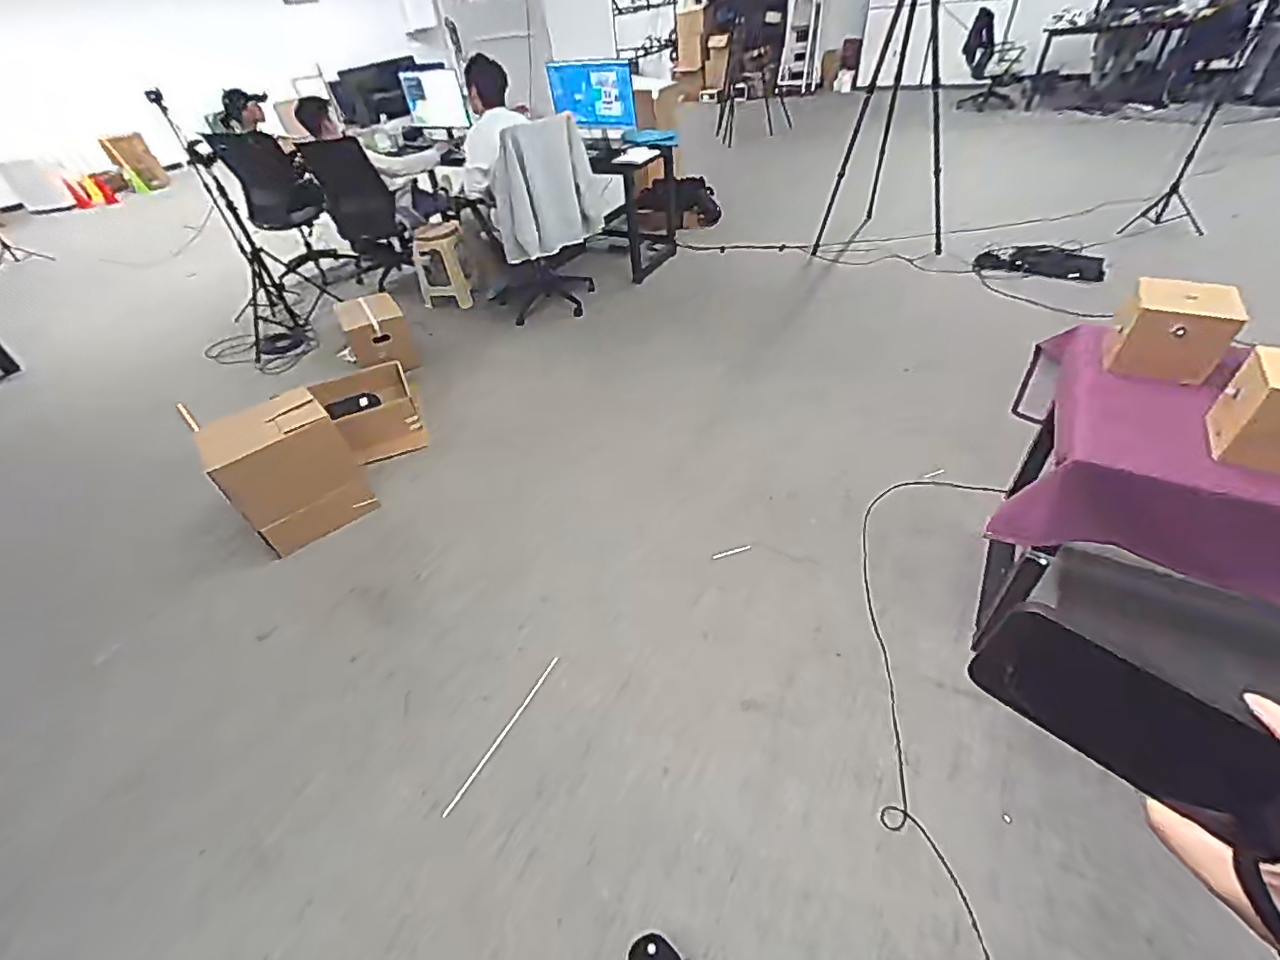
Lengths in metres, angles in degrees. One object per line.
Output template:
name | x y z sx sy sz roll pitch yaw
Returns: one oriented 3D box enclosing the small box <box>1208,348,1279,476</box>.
small box | 1.205 -0.117 0.997 0.179 0.176 0.168 20 48 26
